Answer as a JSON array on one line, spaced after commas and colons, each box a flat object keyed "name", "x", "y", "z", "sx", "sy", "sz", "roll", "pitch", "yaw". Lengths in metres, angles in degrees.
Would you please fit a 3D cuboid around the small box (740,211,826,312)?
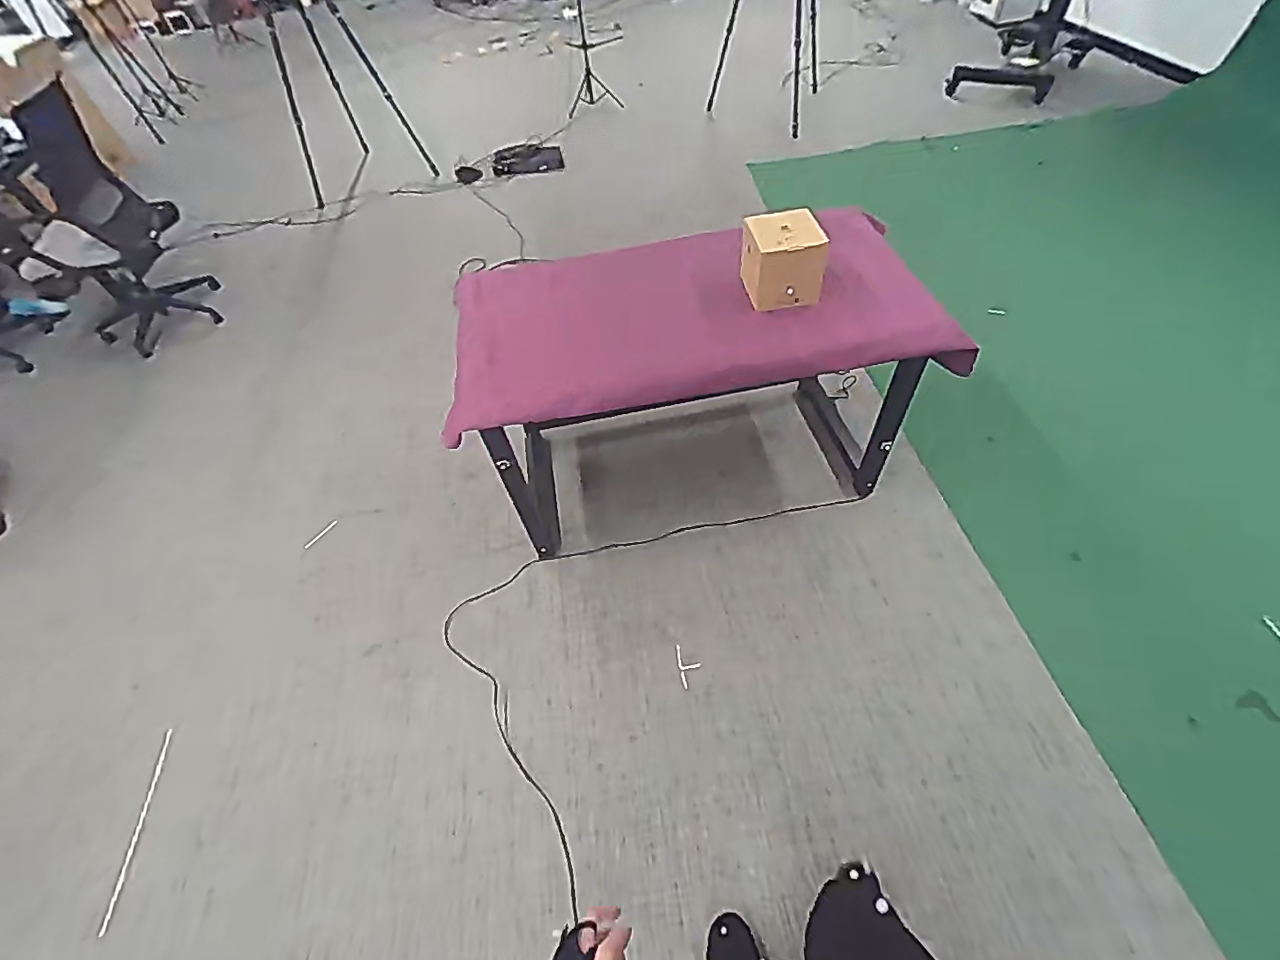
[{"name": "small box", "x": 0.358, "y": -0.560, "z": 1.392, "sx": 0.168, "sy": 0.176, "sz": 0.179, "roll": -9, "pitch": 53, "yaw": 0}]
